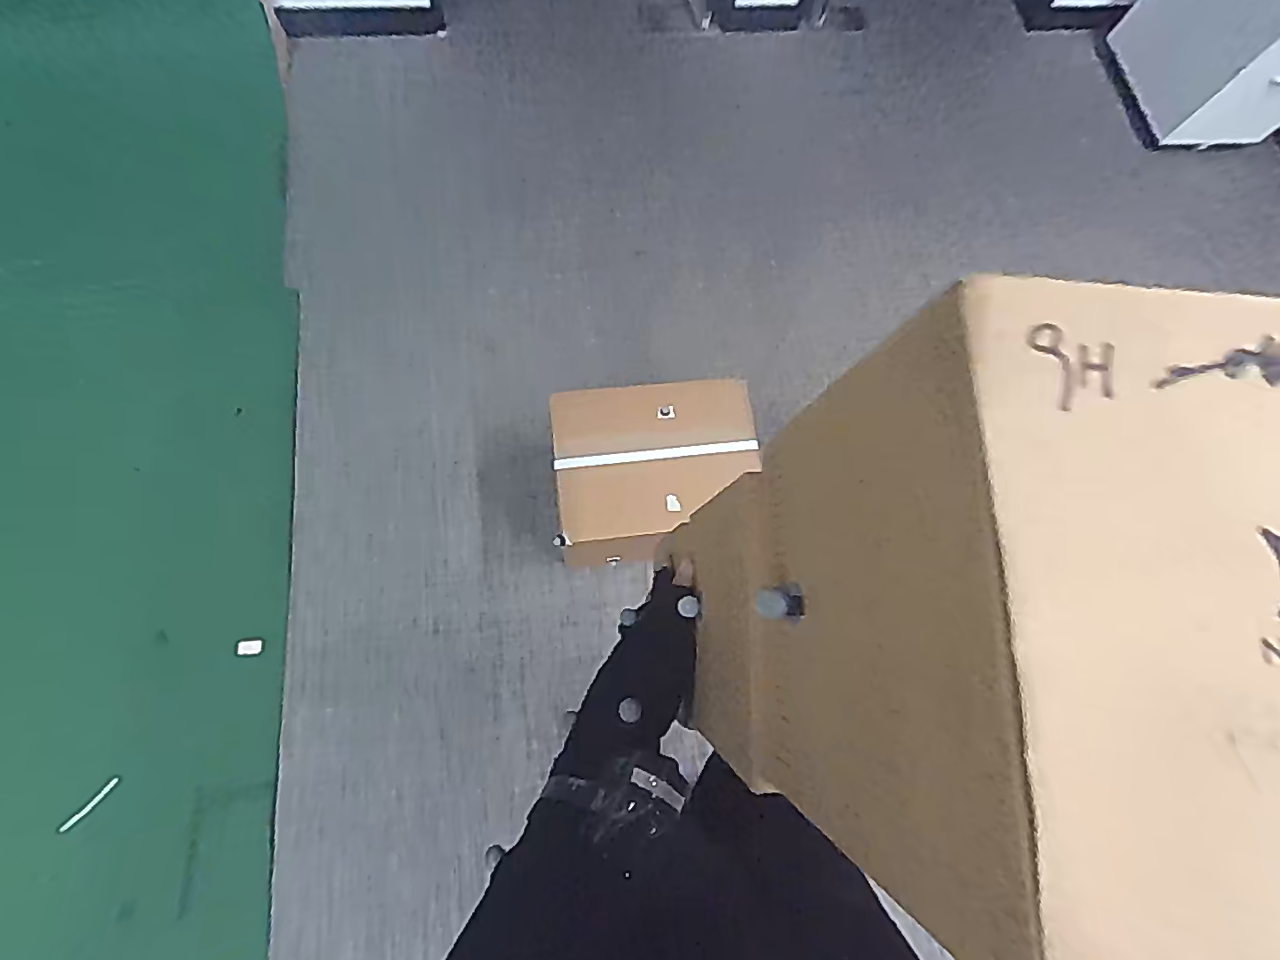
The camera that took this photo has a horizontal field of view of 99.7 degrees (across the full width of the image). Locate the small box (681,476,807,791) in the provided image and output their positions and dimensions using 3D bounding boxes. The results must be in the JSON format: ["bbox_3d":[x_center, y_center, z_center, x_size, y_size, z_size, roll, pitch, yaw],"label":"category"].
[{"bbox_3d":[0.132,0.094,0.376,0.179,0.176,0.168,0,78,-7],"label":"small box"}]
